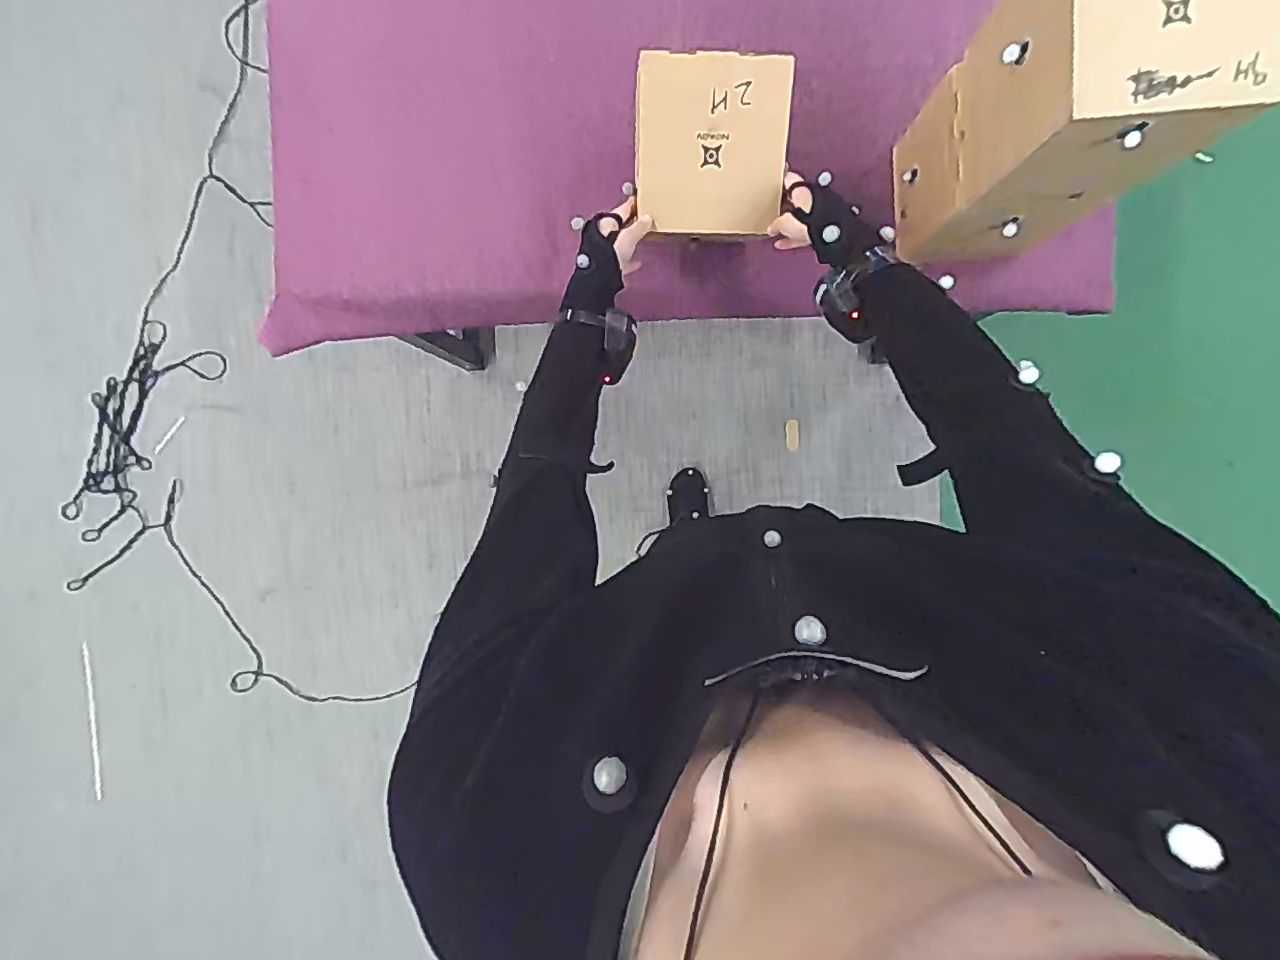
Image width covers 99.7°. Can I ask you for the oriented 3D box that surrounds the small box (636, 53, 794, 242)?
[{"bbox_3d":[0.080,-0.396,0.676,0.168,0.176,0.179,0,110,-1],"label":"small box"}]

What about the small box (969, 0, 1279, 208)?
[{"bbox_3d":[0.437,-0.390,0.513,0.168,0.176,0.179,-2,91,6],"label":"small box"}]

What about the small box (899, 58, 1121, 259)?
[{"bbox_3d":[0.448,-0.393,0.676,0.179,0.176,0.168,-3,92,6],"label":"small box"}]
